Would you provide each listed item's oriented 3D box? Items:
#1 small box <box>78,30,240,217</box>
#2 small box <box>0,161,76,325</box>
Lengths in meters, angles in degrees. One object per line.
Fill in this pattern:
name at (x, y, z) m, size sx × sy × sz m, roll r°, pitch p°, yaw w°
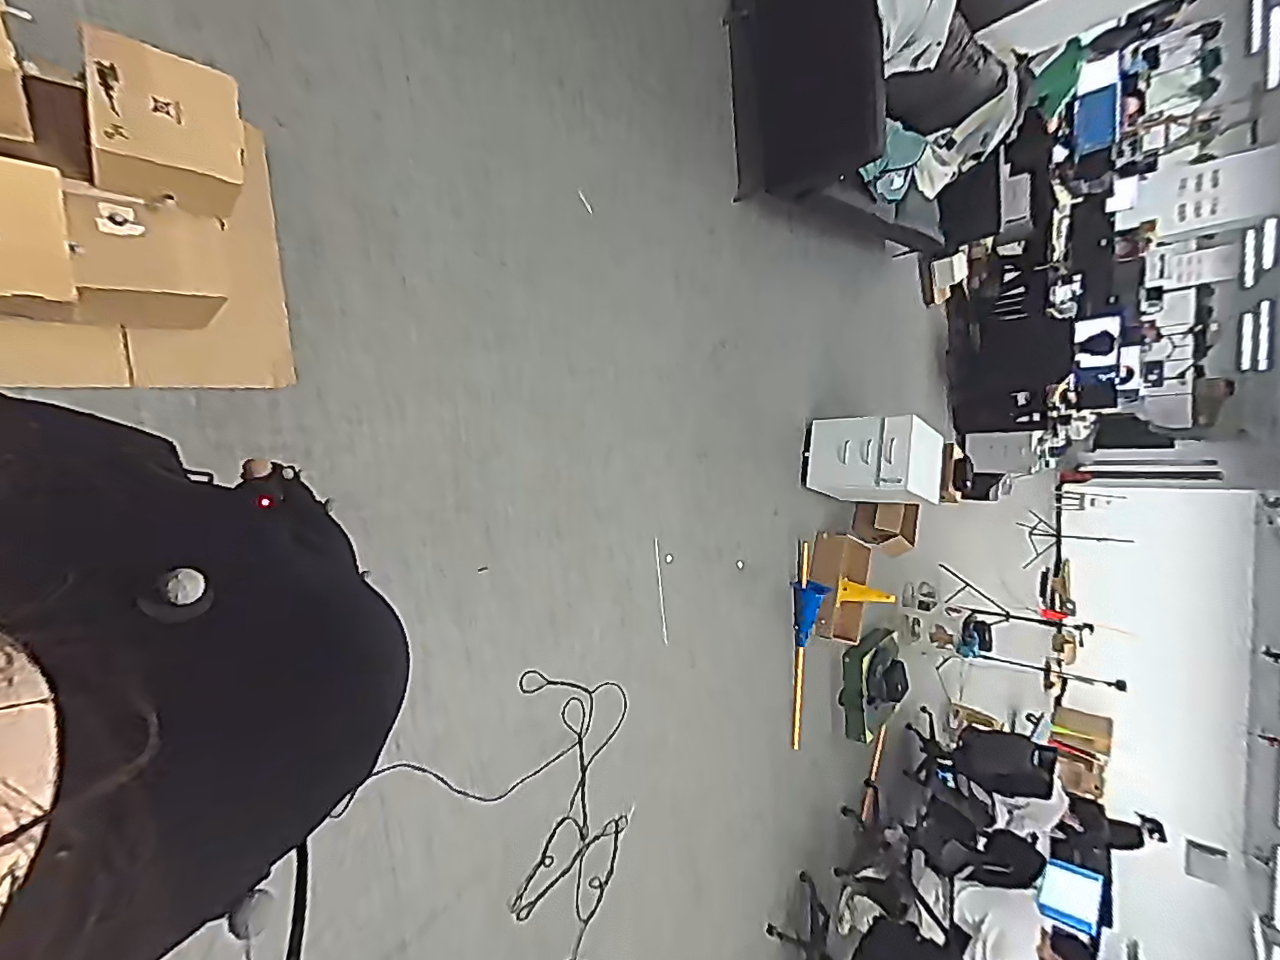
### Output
small box at (-0.756, -0.538, 0.853) m, size 0.179 × 0.176 × 0.168 m, roll -4°, pitch 94°, yaw -44°
small box at (-0.887, -0.317, 0.723) m, size 0.168 × 0.176 × 0.179 m, roll -9°, pitch 99°, yaw -46°
